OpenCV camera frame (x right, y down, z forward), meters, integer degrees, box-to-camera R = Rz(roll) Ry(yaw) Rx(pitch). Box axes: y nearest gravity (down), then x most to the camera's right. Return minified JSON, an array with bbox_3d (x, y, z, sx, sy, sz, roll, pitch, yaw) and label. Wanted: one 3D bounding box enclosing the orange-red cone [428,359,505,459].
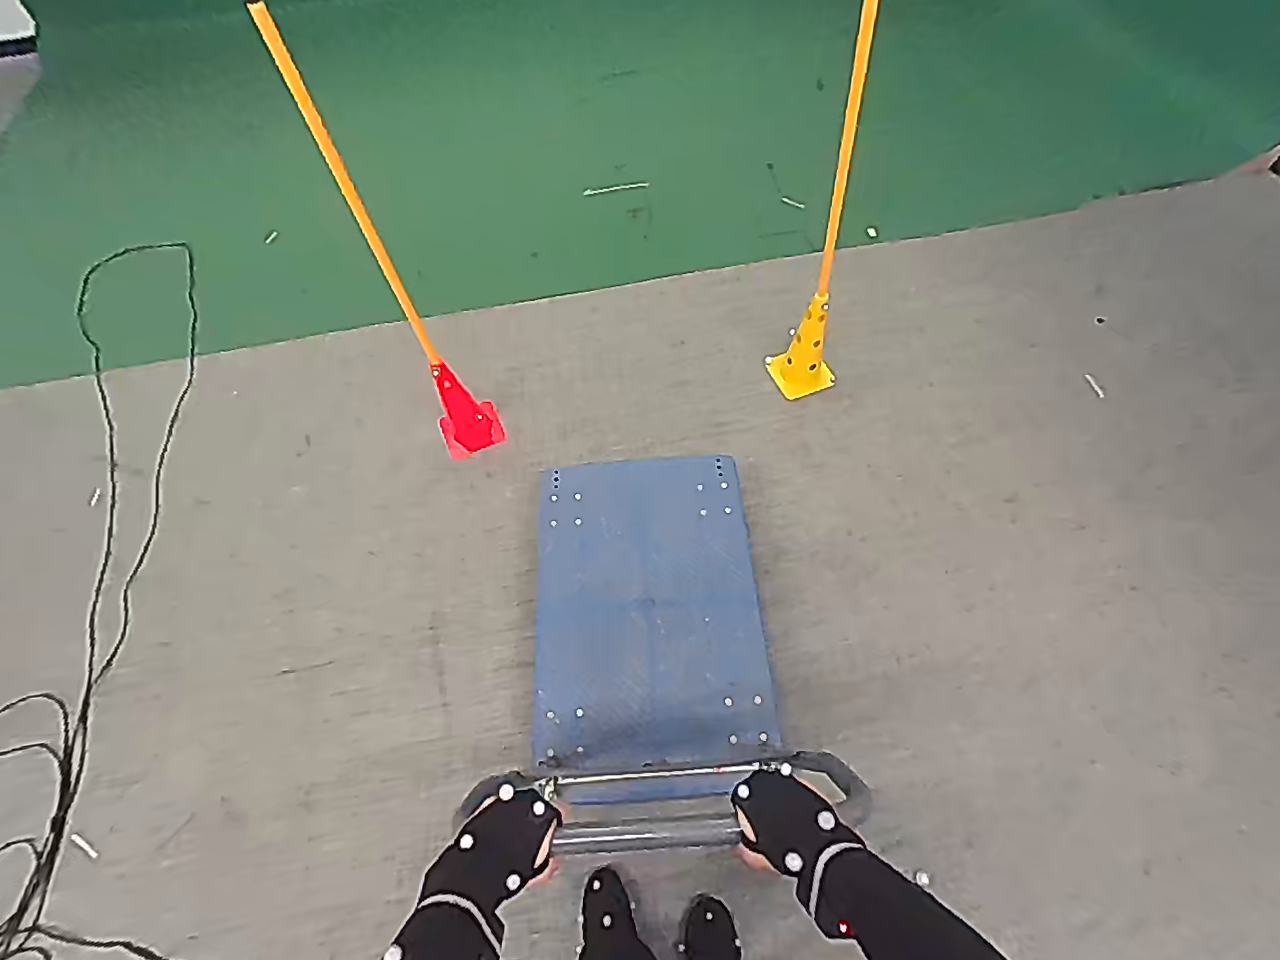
[{"bbox_3d":[-0.599,-0.258,1.750,0.199,0.360,0.198,-24,61,-8],"label":"orange-red cone"}]
